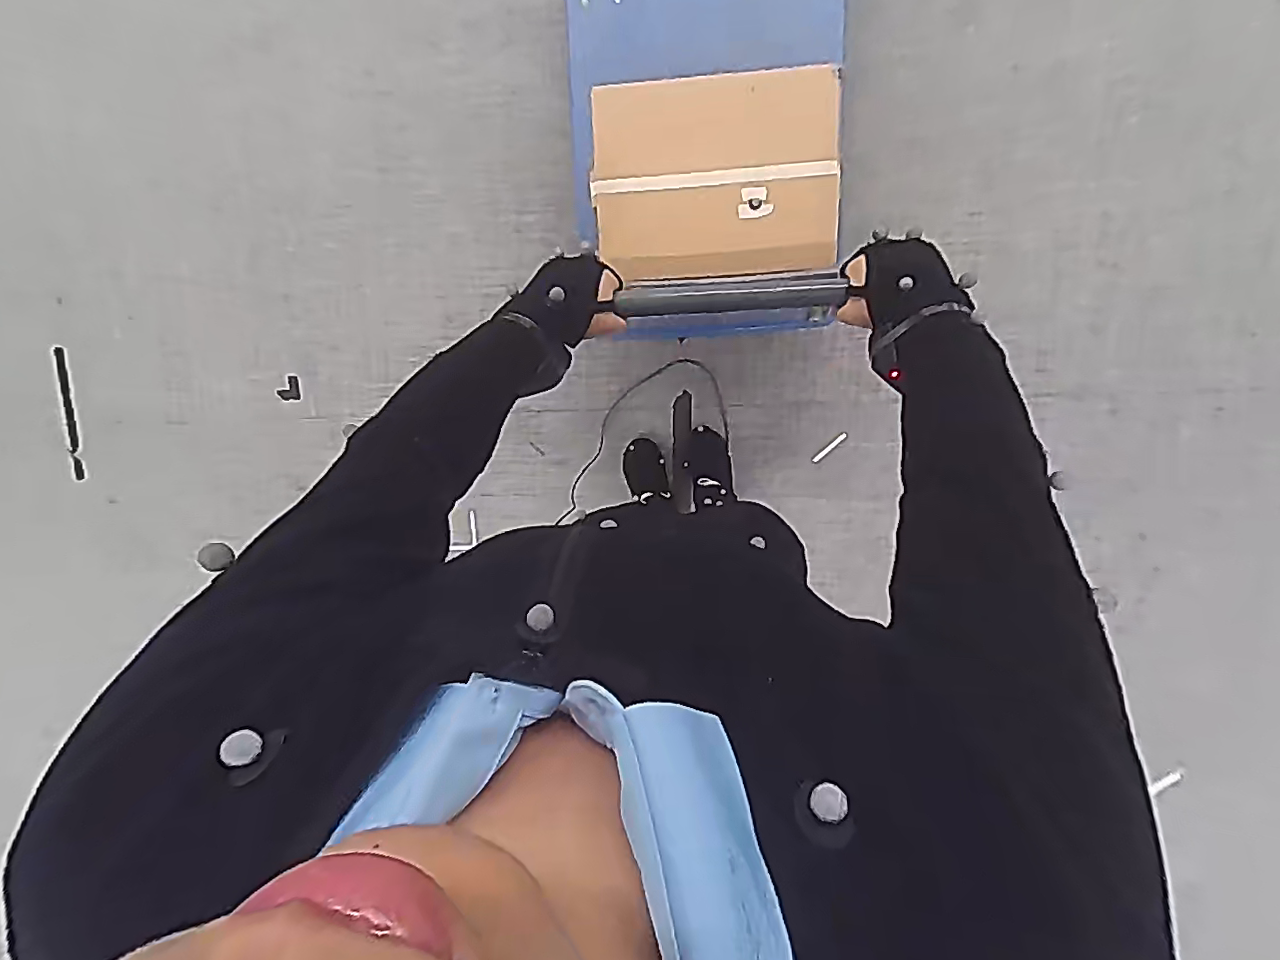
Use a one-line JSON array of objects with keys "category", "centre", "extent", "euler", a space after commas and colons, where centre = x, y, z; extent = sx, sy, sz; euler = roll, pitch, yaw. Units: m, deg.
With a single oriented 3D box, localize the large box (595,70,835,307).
[{"category": "large box", "centre": [0.139, -0.535, 1.069], "extent": [0.408, 0.320, 0.320], "euler": [-2, 101, 5]}]
